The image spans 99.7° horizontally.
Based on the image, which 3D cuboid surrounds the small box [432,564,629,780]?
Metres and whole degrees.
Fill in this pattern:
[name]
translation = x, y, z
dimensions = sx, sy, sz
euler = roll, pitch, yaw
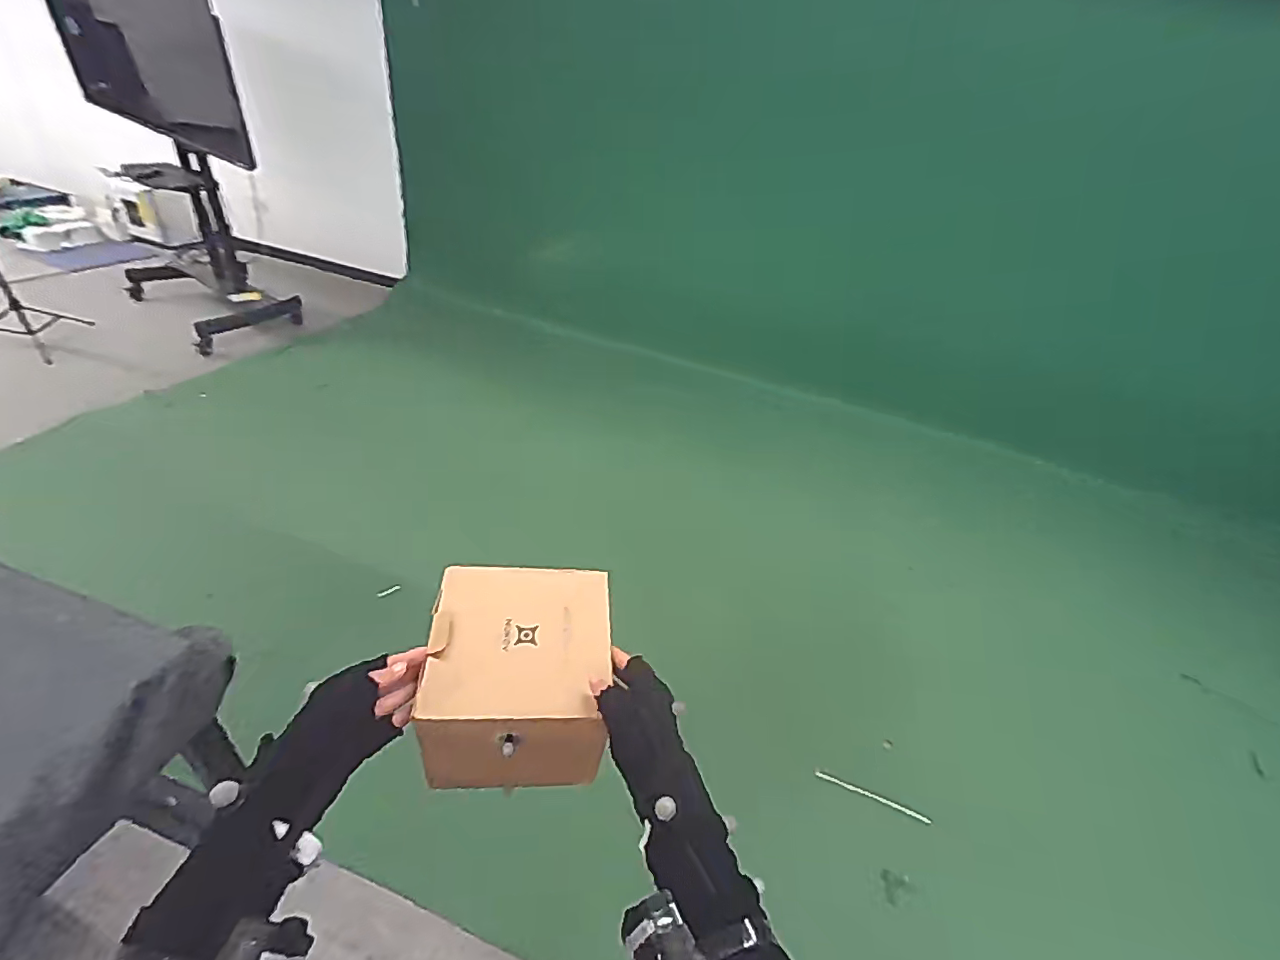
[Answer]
[small box]
translation = -0.114, 0.211, 0.589
dimensions = 0.179, 0.176, 0.168
euler = 5, 43, -11
